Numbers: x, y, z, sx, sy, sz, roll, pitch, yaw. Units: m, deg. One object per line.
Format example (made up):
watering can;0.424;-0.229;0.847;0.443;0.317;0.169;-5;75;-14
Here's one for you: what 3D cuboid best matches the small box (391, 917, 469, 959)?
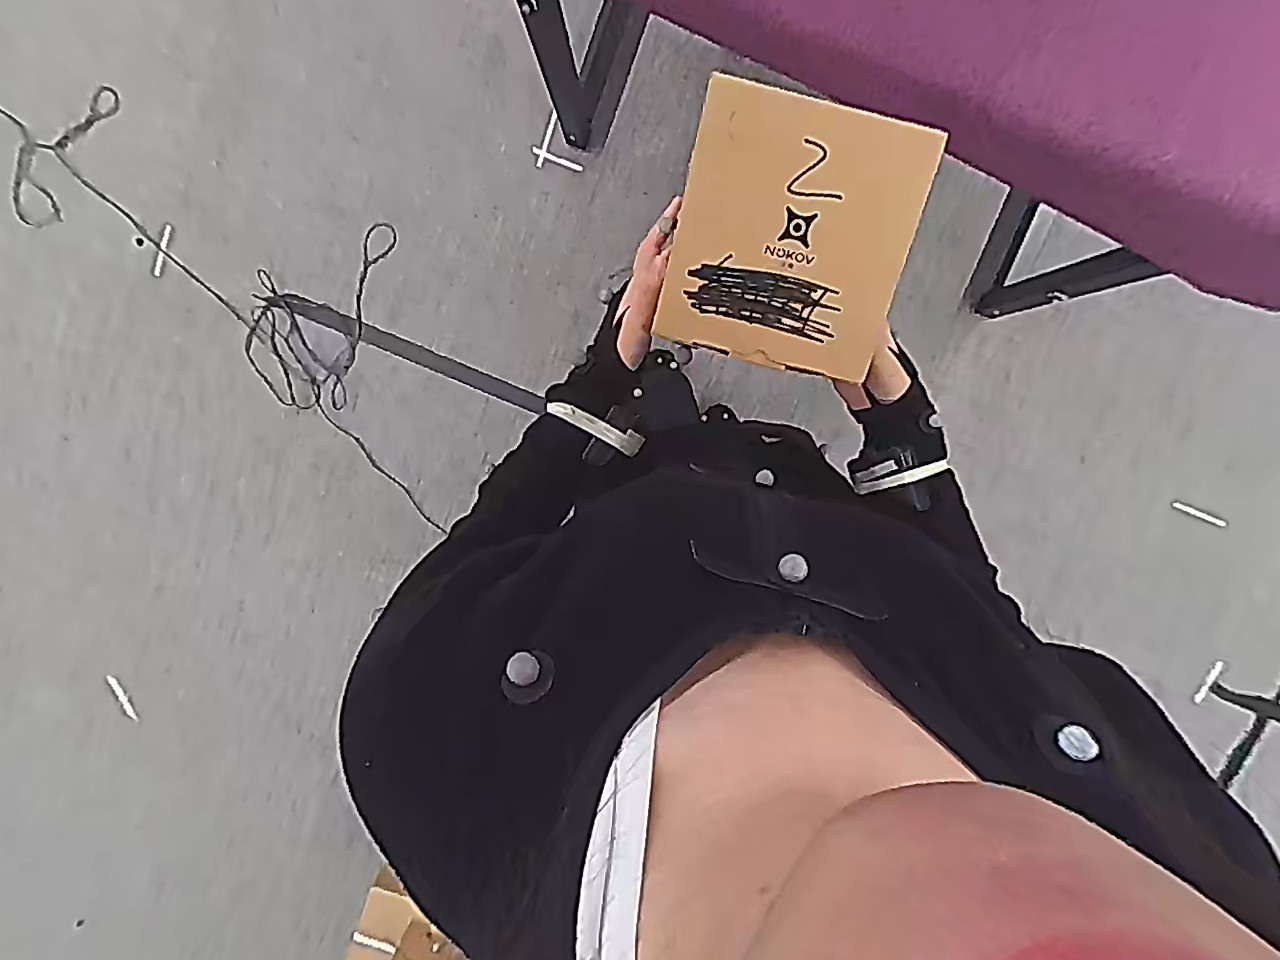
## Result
small box;-0.534;1.227;1.309;0.168;0.176;0.179;19;97;-2
